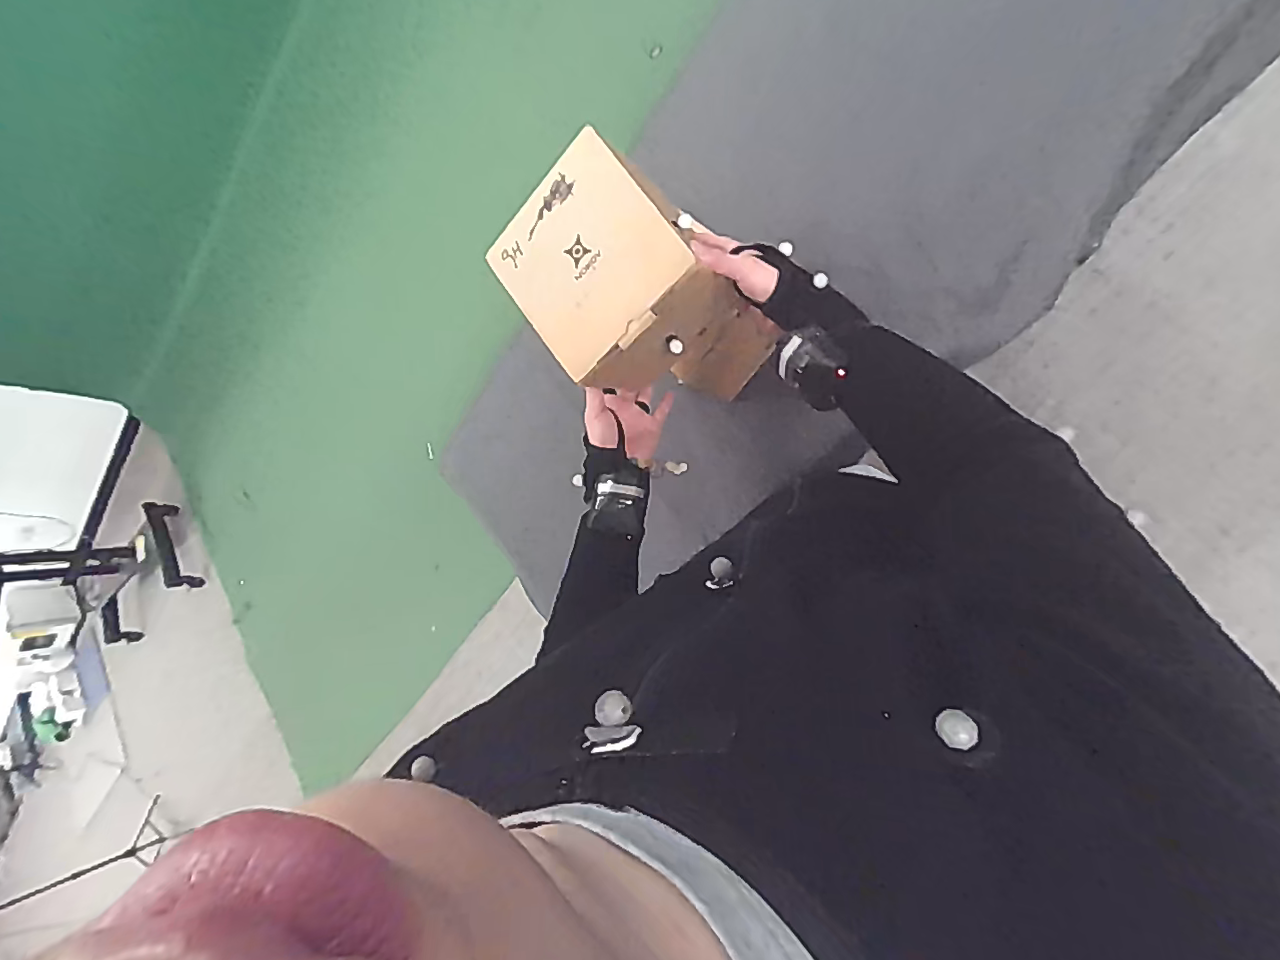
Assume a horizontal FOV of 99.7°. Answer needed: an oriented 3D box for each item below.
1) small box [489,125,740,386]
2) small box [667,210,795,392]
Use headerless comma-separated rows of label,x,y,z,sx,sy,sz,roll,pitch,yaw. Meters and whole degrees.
small box,-0.016,-0.220,0.581,0.168,0.176,0.179,-38,82,24
small box,0.097,-0.245,0.786,0.179,0.176,0.168,48,109,24
